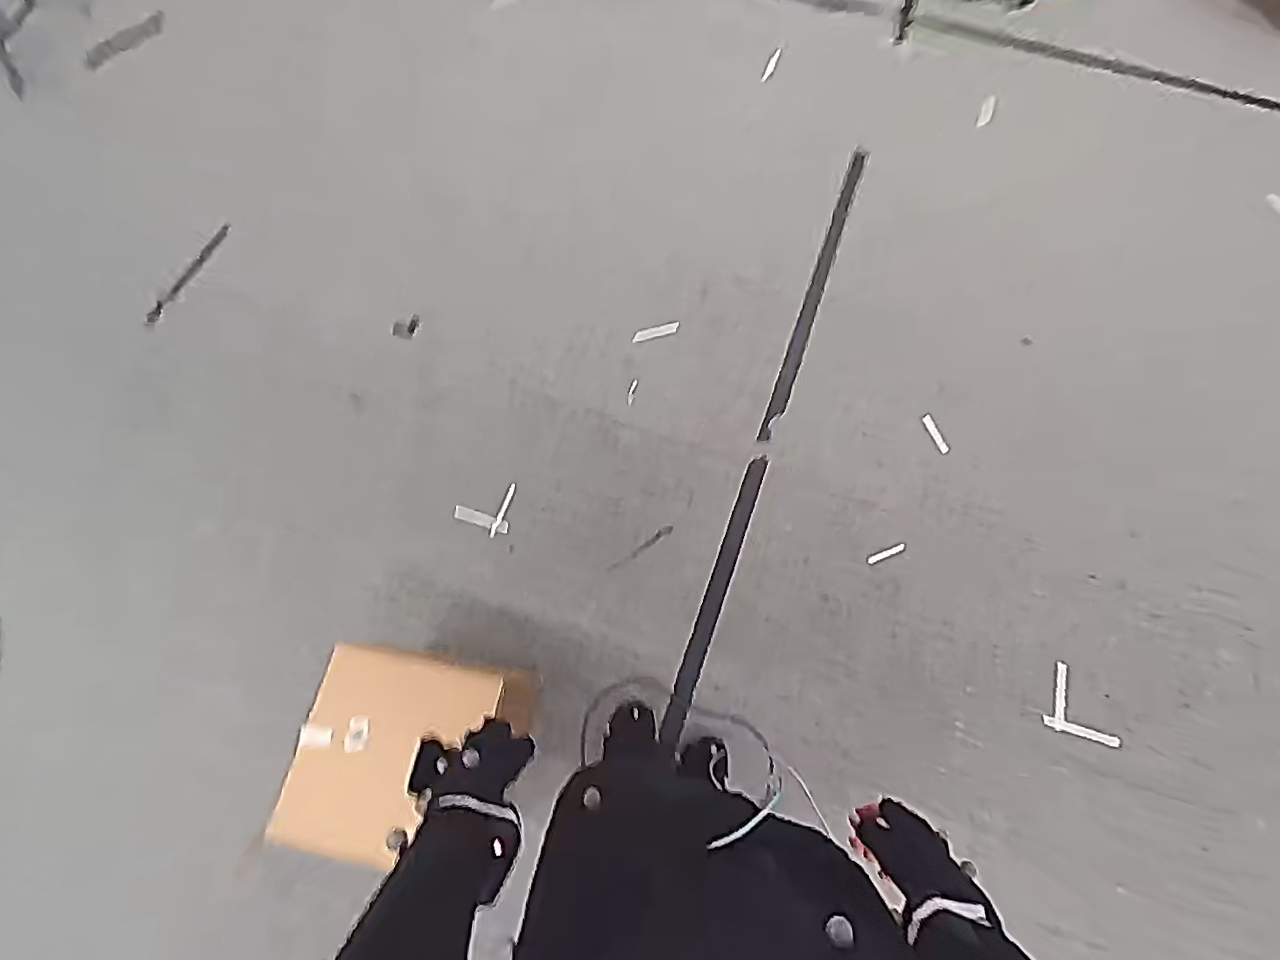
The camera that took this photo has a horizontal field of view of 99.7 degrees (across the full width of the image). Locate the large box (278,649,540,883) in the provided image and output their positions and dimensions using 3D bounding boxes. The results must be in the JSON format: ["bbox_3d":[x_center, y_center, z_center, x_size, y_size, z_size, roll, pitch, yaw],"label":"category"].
[{"bbox_3d":[-0.419,0.530,1.095,0.320,0.408,0.320,13,72,3],"label":"large box"}]
